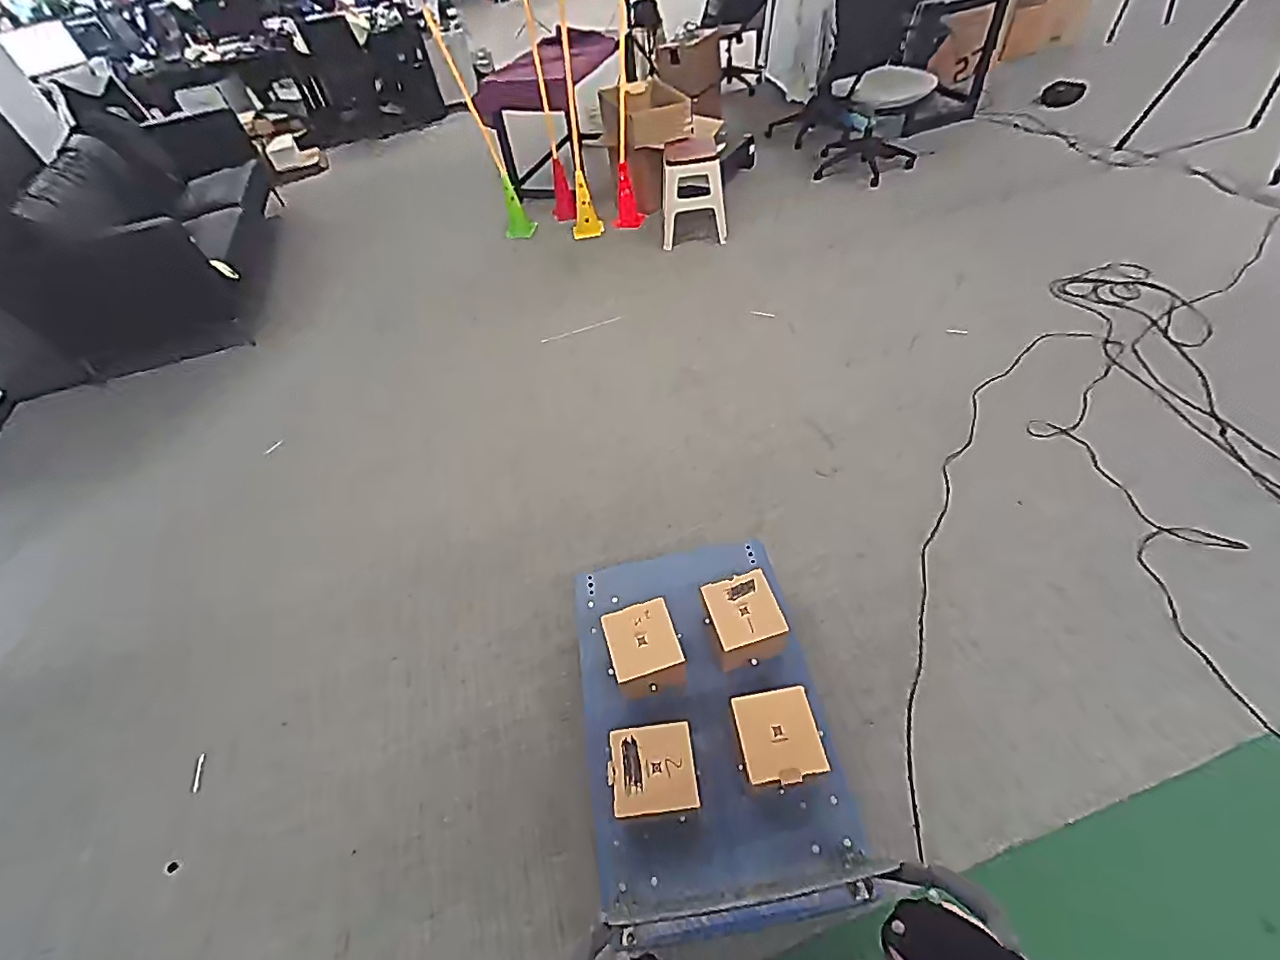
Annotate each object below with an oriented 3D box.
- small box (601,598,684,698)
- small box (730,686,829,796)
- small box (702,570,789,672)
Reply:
[{"bbox_3d":[0.011,0.431,1.365,0.168,0.176,0.179,-16,52,-6],"label":"small box"},{"bbox_3d":[0.301,0.587,1.212,0.168,0.176,0.179,-10,53,-1],"label":"small box"},{"bbox_3d":[0.261,0.364,1.386,0.168,0.176,0.179,-16,53,-5],"label":"small box"}]
